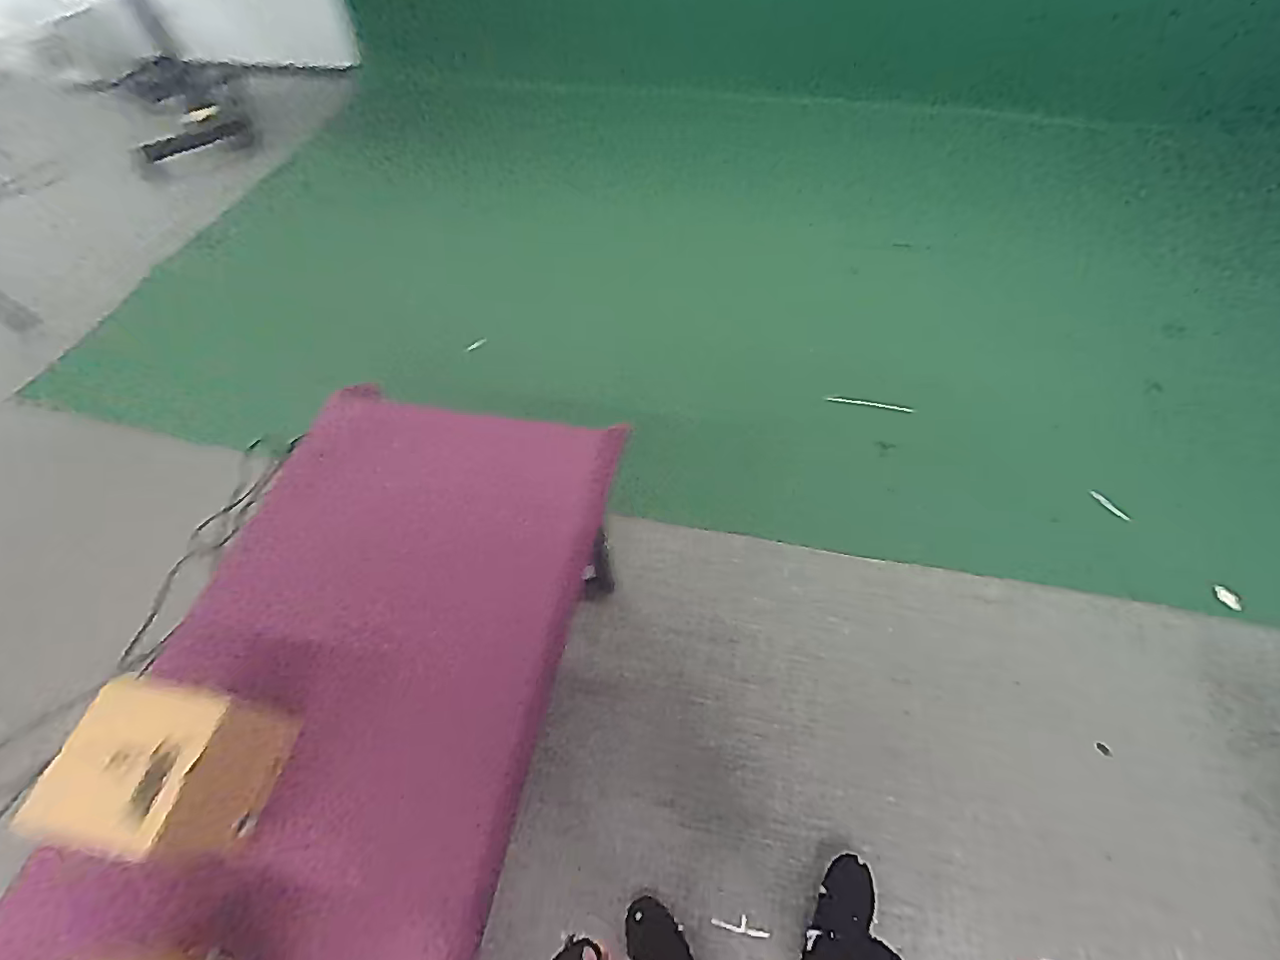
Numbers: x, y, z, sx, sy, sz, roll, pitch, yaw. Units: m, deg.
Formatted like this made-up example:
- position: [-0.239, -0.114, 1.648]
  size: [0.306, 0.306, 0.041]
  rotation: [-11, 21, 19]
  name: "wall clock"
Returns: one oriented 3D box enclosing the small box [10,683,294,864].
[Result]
- position: [-0.603, 0.380, 0.703]
  size: [0.179, 0.176, 0.168]
  rotation: [7, 56, 7]
  name: "small box"
